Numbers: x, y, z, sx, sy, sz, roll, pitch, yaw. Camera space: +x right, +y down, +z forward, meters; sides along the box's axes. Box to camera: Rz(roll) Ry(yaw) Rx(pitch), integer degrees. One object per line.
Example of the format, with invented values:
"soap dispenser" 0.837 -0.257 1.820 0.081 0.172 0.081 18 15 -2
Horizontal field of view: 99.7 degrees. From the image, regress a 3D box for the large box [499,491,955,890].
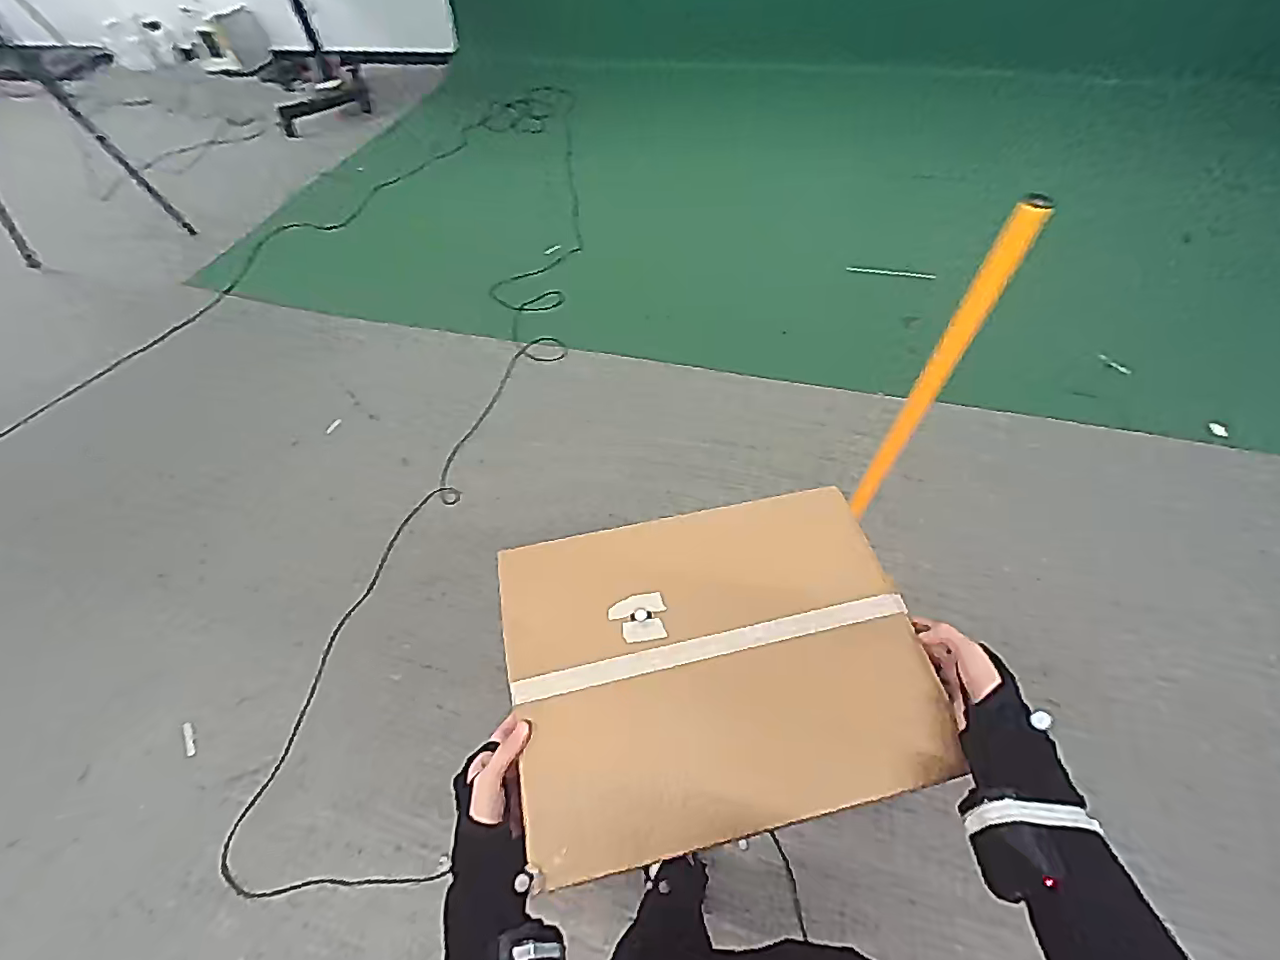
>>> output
"large box" 0.071 0.257 0.680 0.408 0.320 0.320 -12 57 -7
